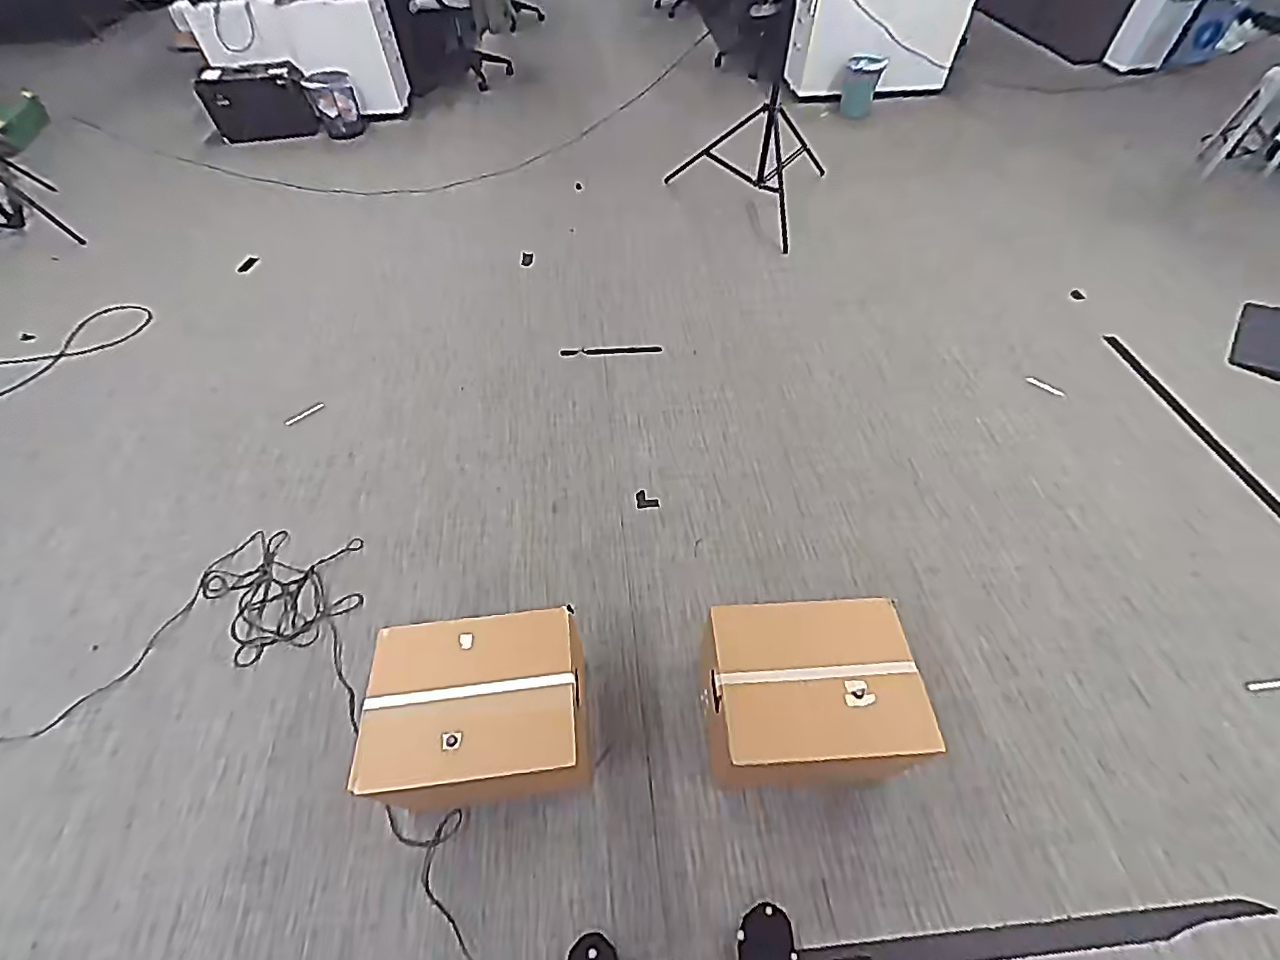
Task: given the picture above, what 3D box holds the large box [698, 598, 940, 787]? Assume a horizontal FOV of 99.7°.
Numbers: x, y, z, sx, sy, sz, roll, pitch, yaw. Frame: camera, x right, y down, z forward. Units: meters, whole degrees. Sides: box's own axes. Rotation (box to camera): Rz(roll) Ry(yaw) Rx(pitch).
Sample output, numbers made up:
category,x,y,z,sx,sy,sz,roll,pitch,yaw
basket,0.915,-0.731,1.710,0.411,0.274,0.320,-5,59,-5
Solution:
category,x,y,z,sx,sy,sz,roll,pitch,yaw
large box,0.360,0.482,1.219,0.408,0.320,0.320,-2,53,-2
